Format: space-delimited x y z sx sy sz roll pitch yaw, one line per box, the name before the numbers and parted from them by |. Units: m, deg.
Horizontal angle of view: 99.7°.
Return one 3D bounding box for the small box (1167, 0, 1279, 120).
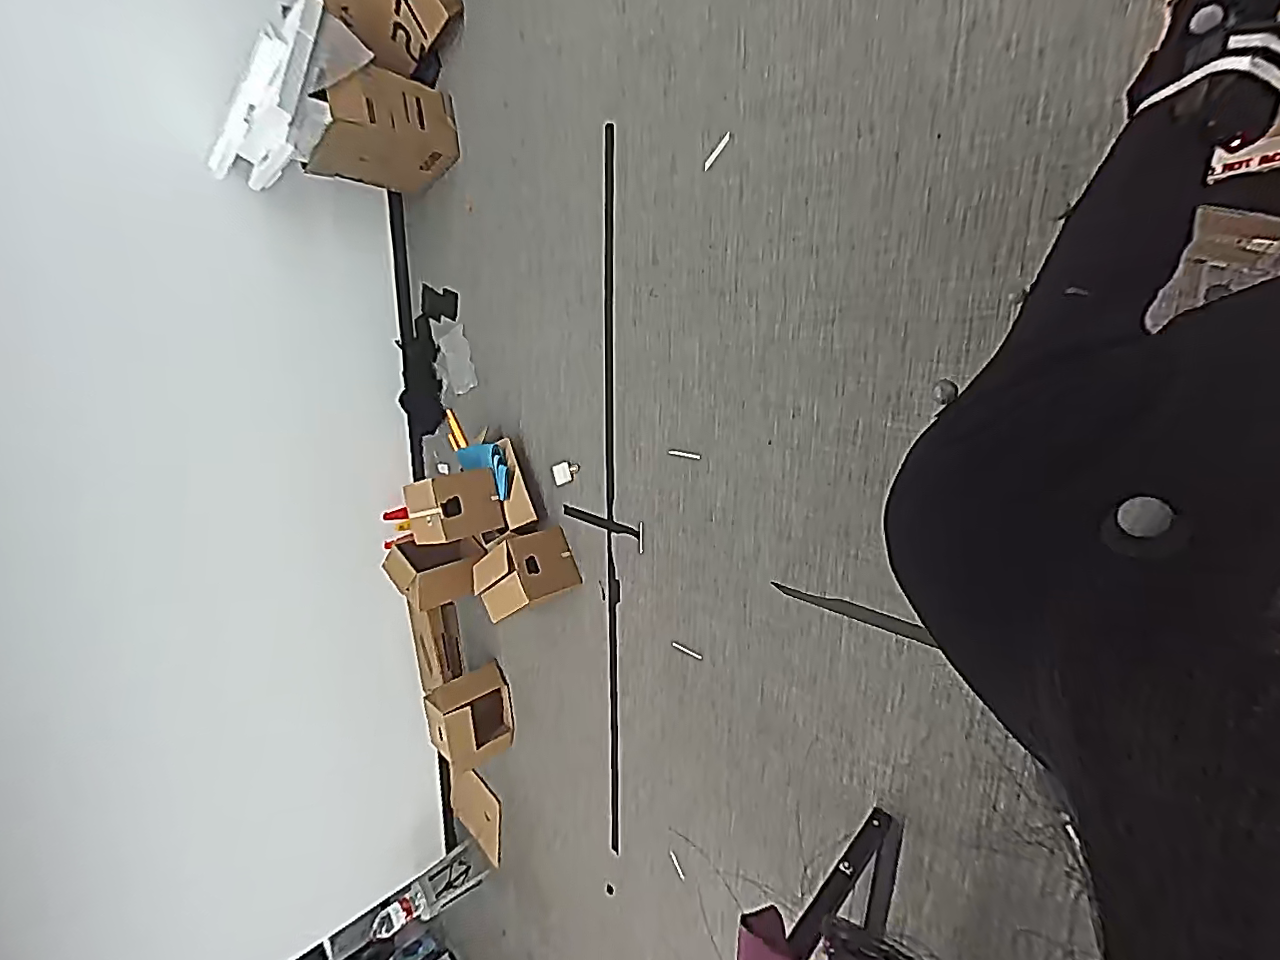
small box | 0.696 -0.524 0.576 0.179 0.176 0.168 4 101 47
